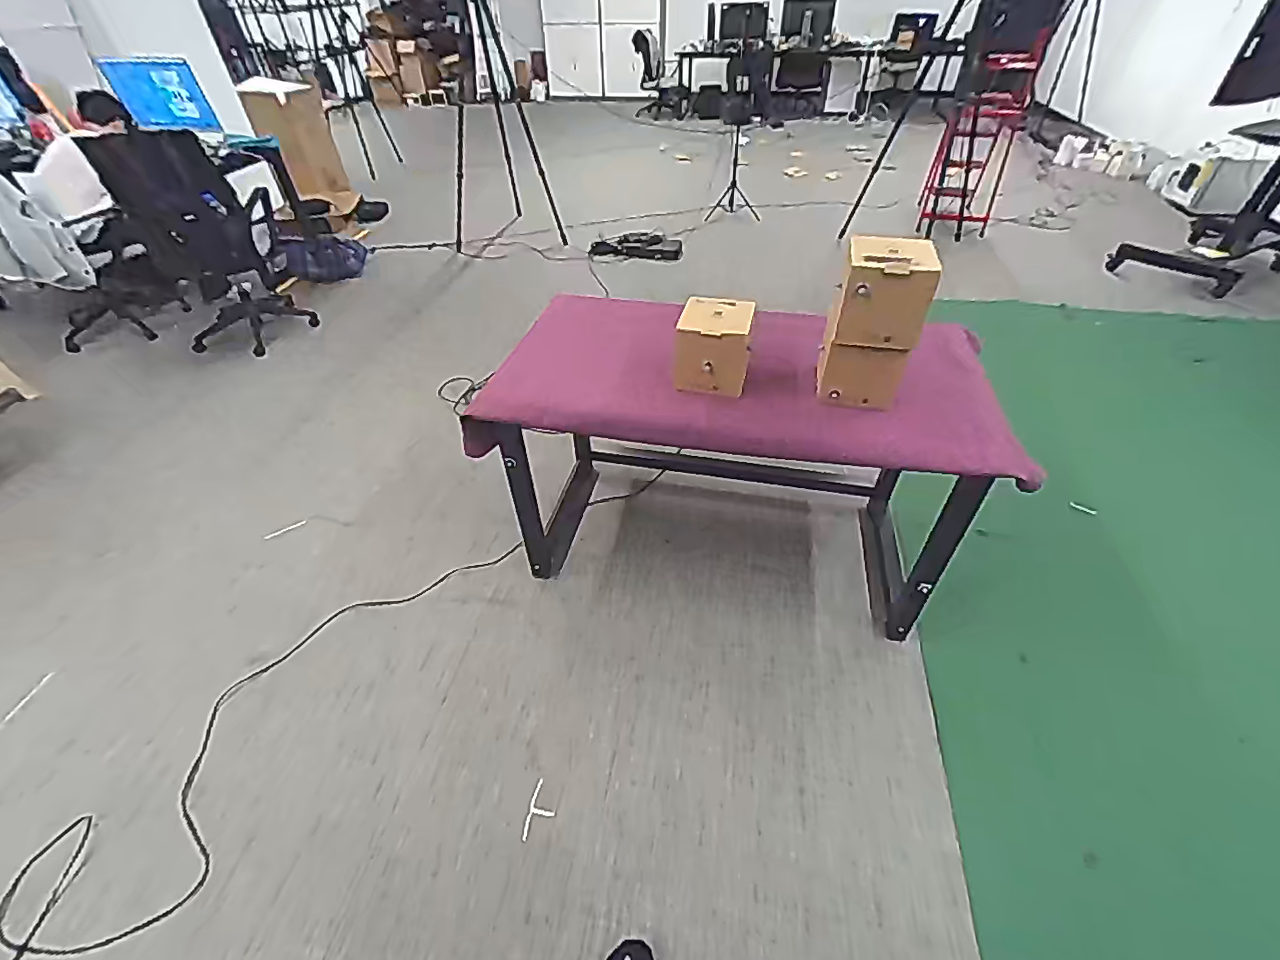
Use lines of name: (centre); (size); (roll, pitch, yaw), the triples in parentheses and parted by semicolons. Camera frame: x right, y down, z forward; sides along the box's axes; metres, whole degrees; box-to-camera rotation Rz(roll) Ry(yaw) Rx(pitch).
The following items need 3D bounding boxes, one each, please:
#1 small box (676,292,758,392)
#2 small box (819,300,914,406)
small box: (0.186, -0.333, 1.311); (0.168, 0.176, 0.179); (10, 45, 11)
small box: (0.521, -0.293, 1.258); (0.168, 0.176, 0.179); (12, 45, 11)
